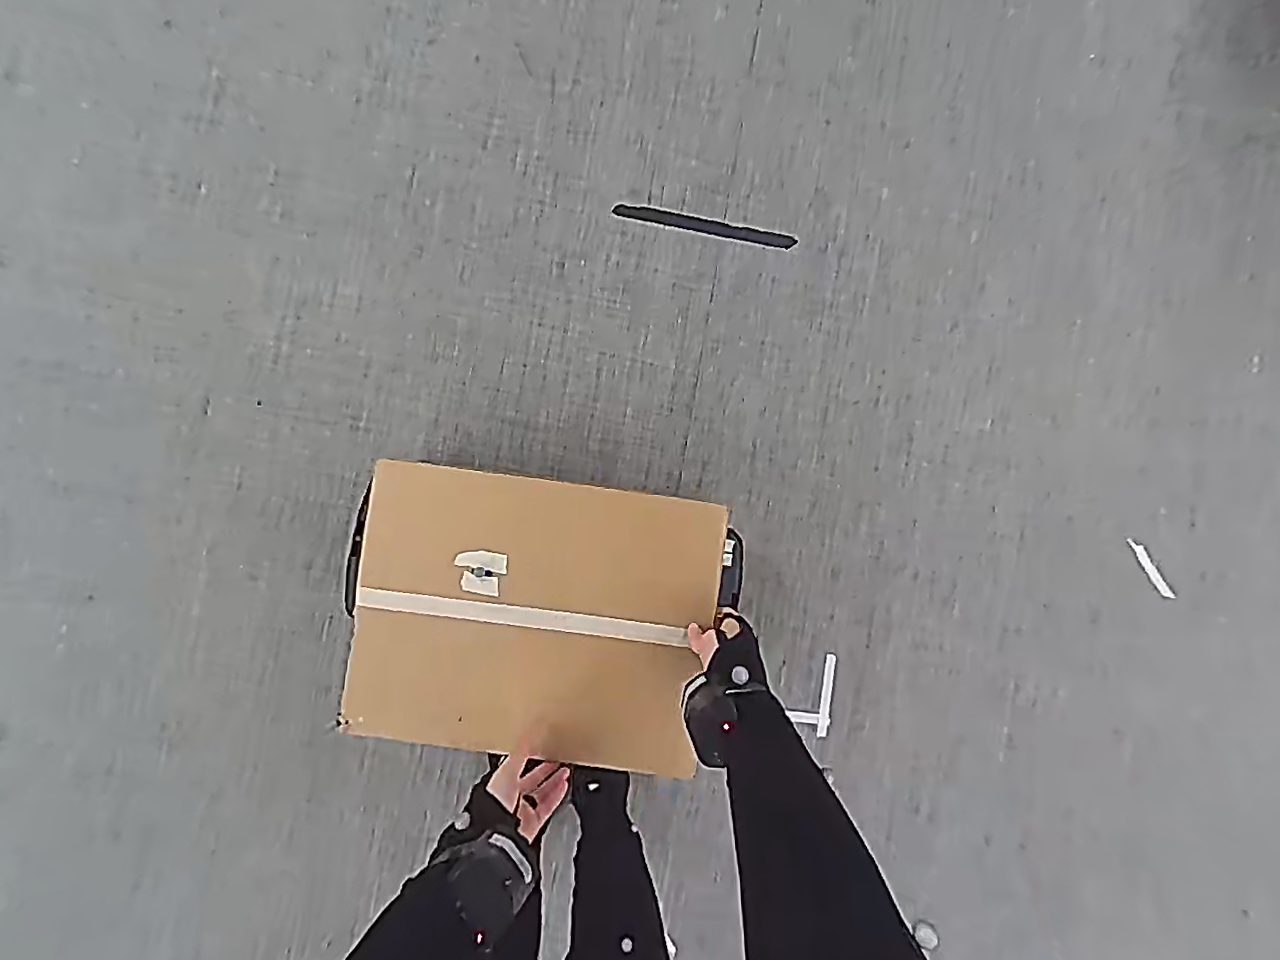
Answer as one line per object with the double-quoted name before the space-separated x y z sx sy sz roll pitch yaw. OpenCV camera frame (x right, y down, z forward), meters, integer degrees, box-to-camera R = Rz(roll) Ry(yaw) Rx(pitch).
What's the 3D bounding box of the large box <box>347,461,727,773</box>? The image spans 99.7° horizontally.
"large box" -0.112 0.157 0.757 0.408 0.320 0.320 8 87 0
